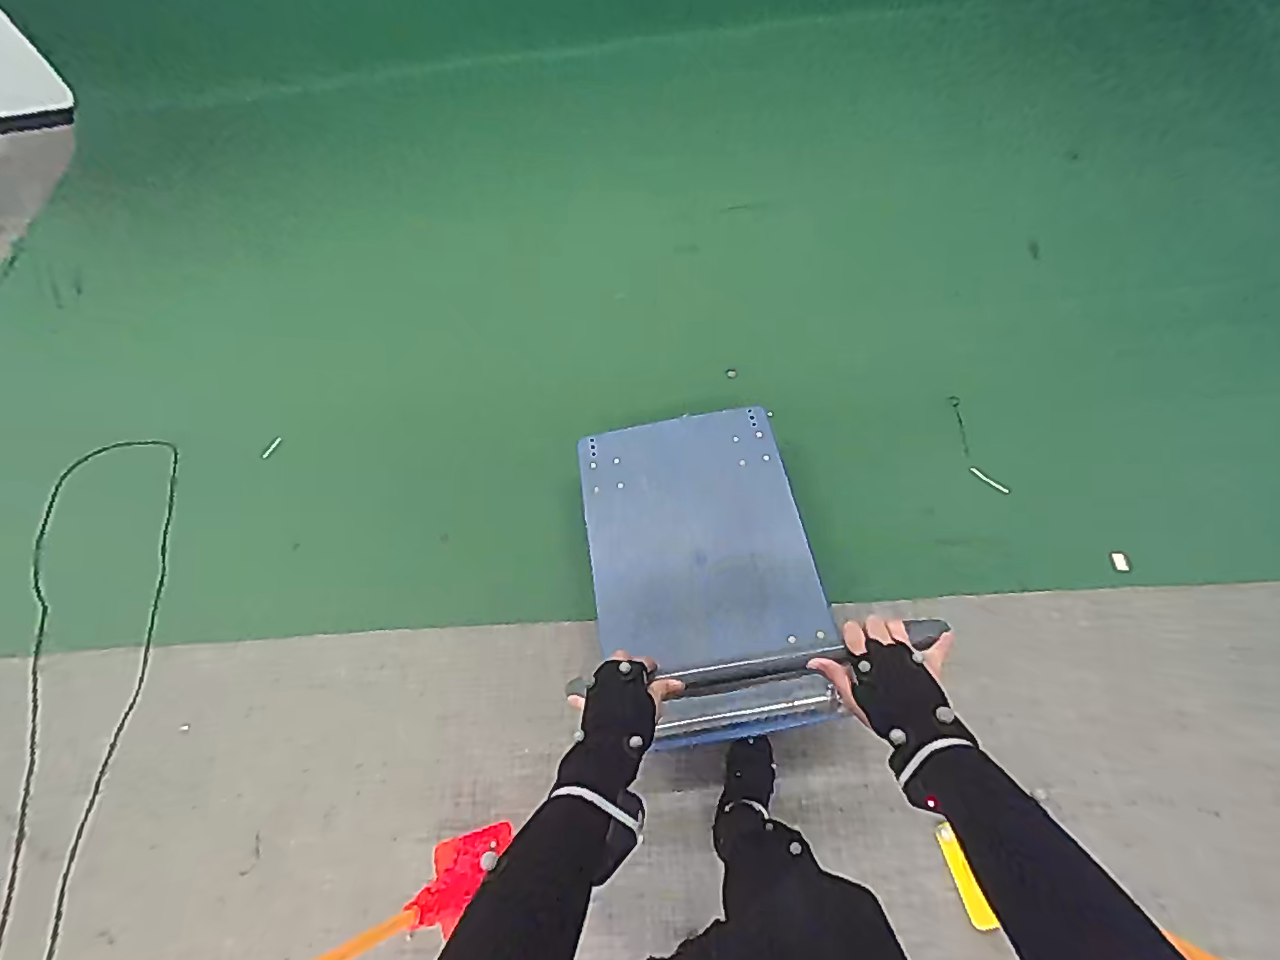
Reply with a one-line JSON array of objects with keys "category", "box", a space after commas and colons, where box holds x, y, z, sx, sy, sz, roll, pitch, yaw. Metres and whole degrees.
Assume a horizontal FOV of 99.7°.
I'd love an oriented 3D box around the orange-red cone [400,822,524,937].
[{"category": "orange-red cone", "box": [-0.403, 0.874, 1.141, 0.199, 0.360, 0.198, -18, 62, -1]}]
